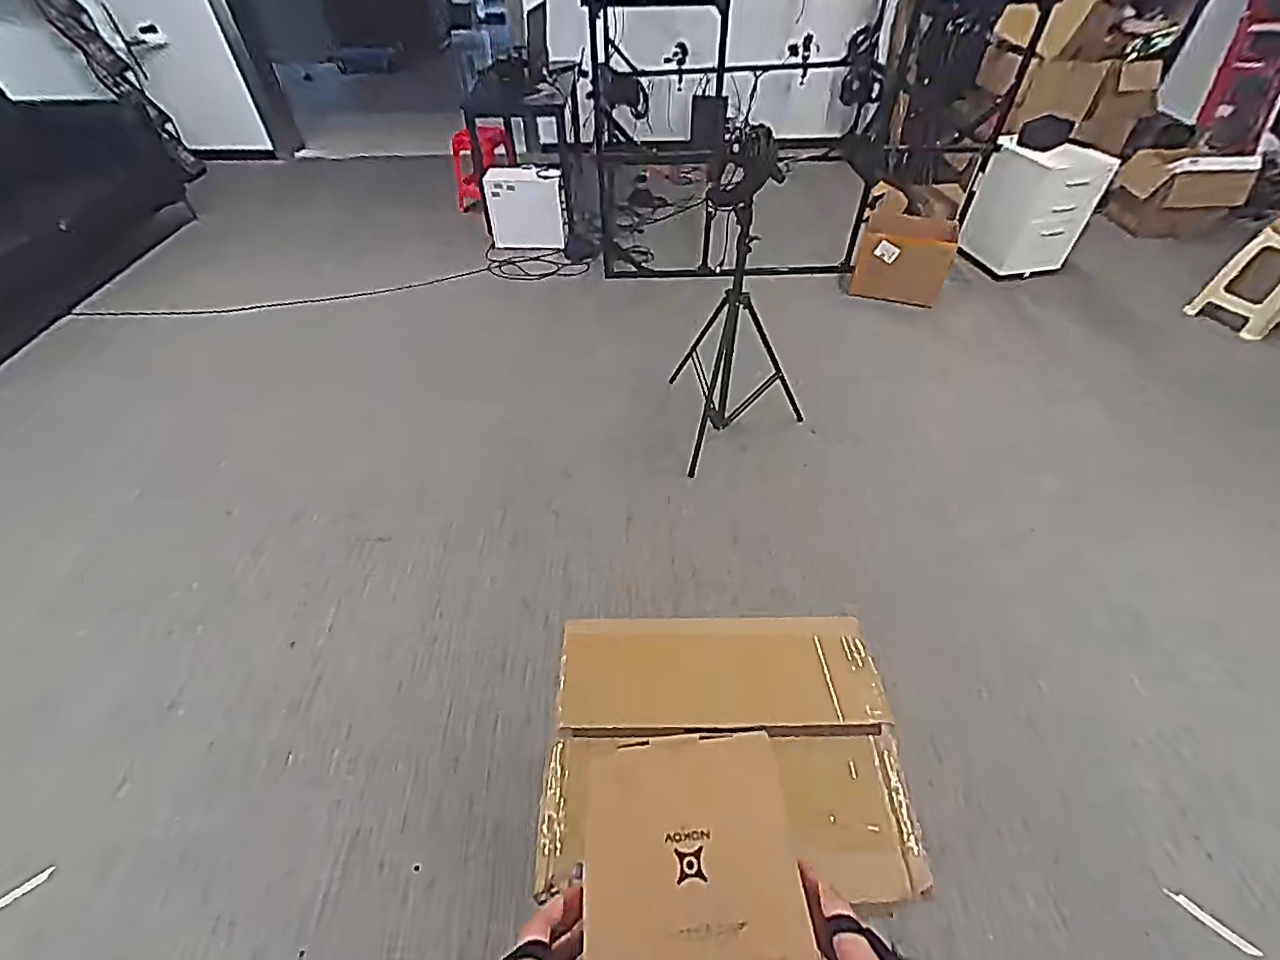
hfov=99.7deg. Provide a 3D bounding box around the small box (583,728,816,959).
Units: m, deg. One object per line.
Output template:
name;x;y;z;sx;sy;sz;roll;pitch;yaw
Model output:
small box;0.039;0.346;0.481;0.168;0.176;0.179;-6;48;-2
